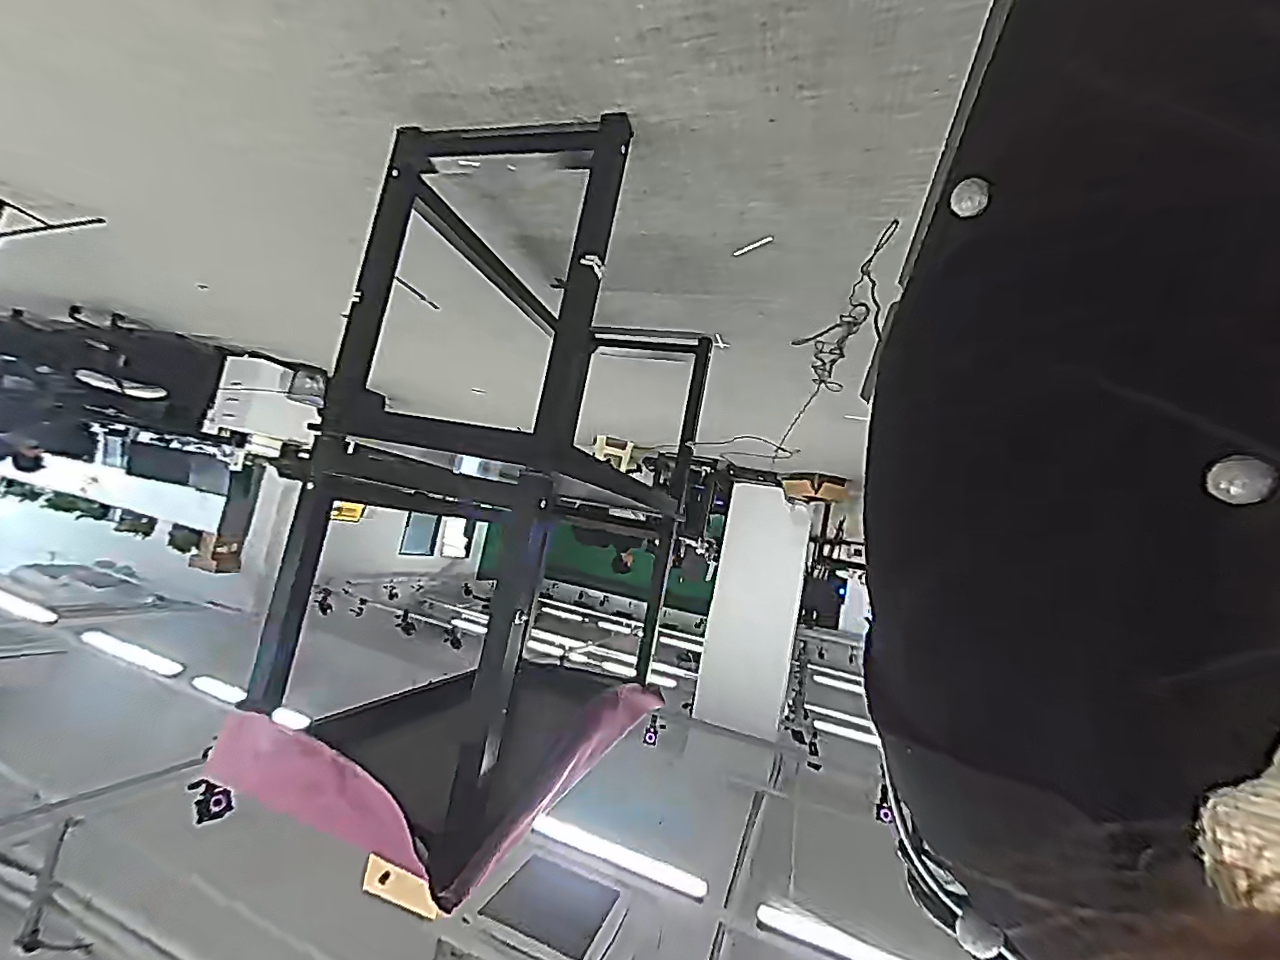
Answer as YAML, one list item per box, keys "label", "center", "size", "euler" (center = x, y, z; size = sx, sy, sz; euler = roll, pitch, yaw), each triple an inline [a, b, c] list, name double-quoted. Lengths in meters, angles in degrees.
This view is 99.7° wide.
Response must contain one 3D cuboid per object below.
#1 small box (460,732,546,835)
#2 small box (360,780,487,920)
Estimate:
- label: "small box"
  center: [-0.374, 0.819, 1.478]
  size: [0.179, 0.176, 0.168]
  euler: [10, 174, 23]
- label: "small box"
  center: [-0.454, 0.775, 1.158]
  size: [0.179, 0.176, 0.168]
  euler: [10, 175, 14]
